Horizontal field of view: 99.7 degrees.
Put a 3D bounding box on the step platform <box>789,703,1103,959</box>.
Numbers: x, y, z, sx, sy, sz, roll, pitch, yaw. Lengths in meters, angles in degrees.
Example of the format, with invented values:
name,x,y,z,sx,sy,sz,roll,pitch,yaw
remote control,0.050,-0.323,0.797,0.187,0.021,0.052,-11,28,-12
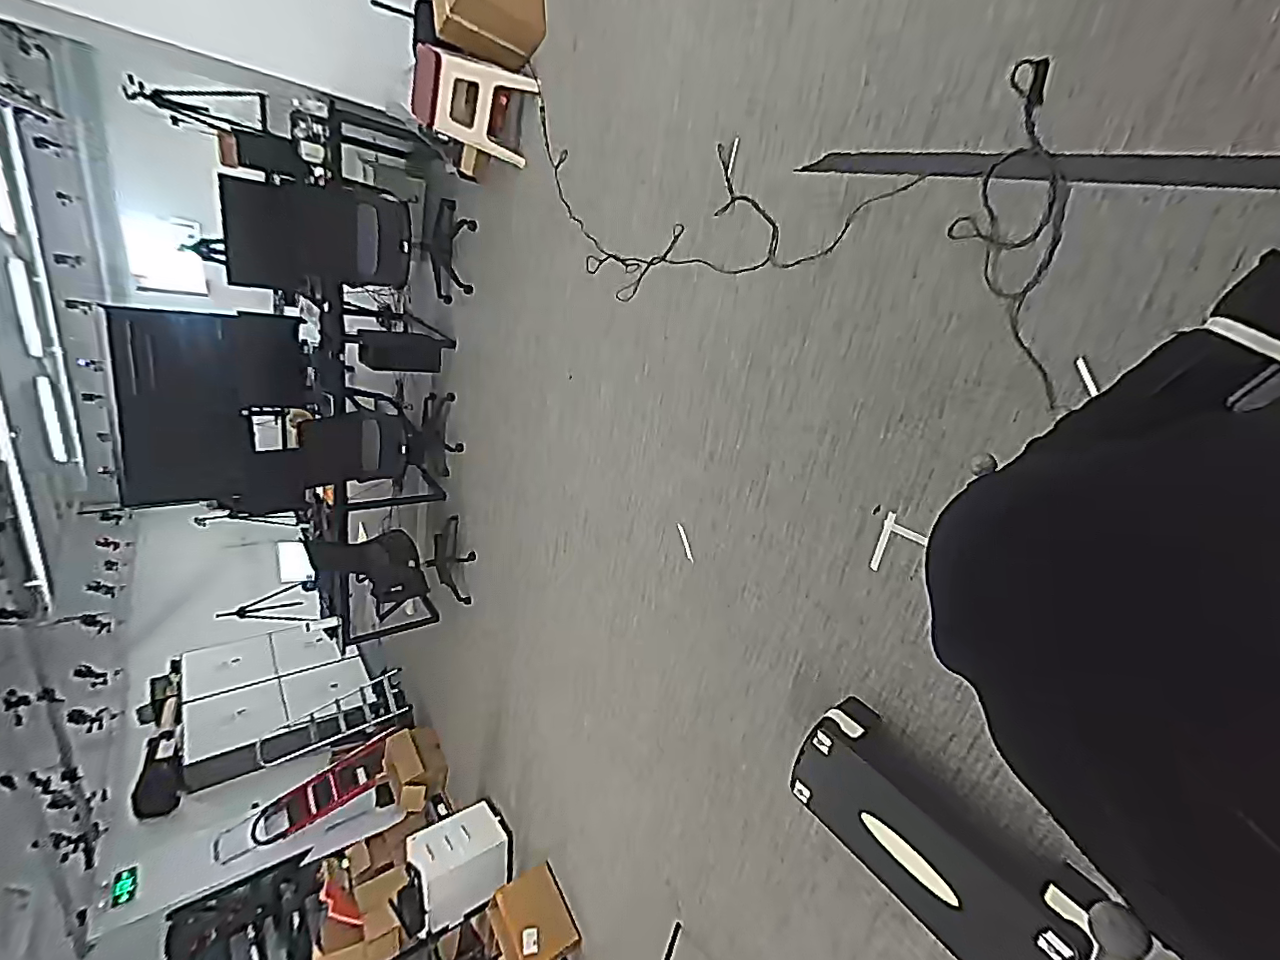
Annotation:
name,x,y,z,sx,sy,sz,roll,pitch,yaw
step platform,0.713,0.920,1.379,0.684,0.204,0.286,33,121,43
